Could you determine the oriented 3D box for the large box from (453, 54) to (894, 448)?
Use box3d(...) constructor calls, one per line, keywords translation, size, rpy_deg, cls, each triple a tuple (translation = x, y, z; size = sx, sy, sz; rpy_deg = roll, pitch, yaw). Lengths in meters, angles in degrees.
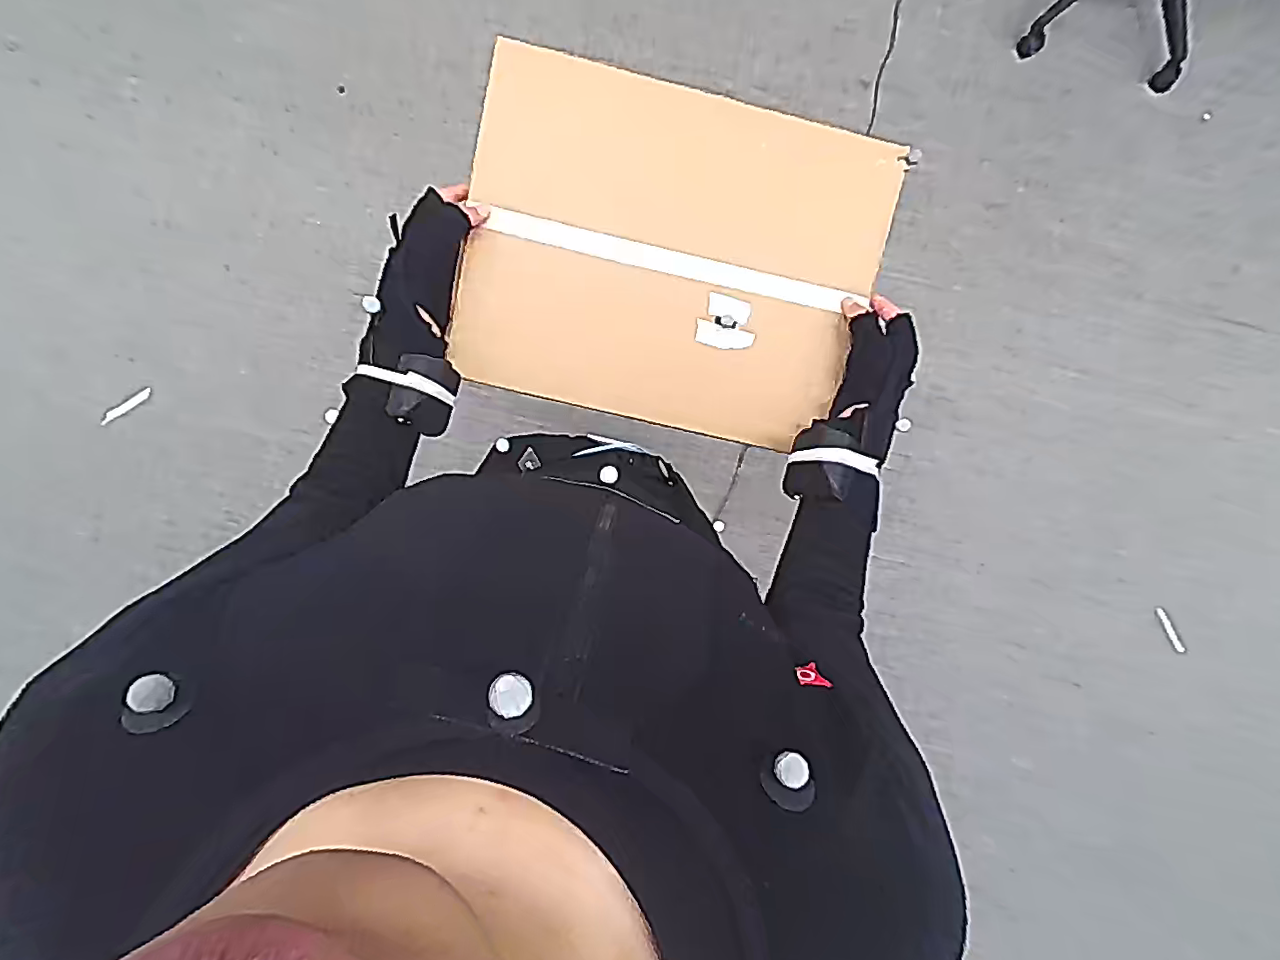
box3d(translation=(0.023, -0.242, 0.694), size=(0.408, 0.320, 0.320), rpy_deg=(13, 99, -5), cls="large box")
